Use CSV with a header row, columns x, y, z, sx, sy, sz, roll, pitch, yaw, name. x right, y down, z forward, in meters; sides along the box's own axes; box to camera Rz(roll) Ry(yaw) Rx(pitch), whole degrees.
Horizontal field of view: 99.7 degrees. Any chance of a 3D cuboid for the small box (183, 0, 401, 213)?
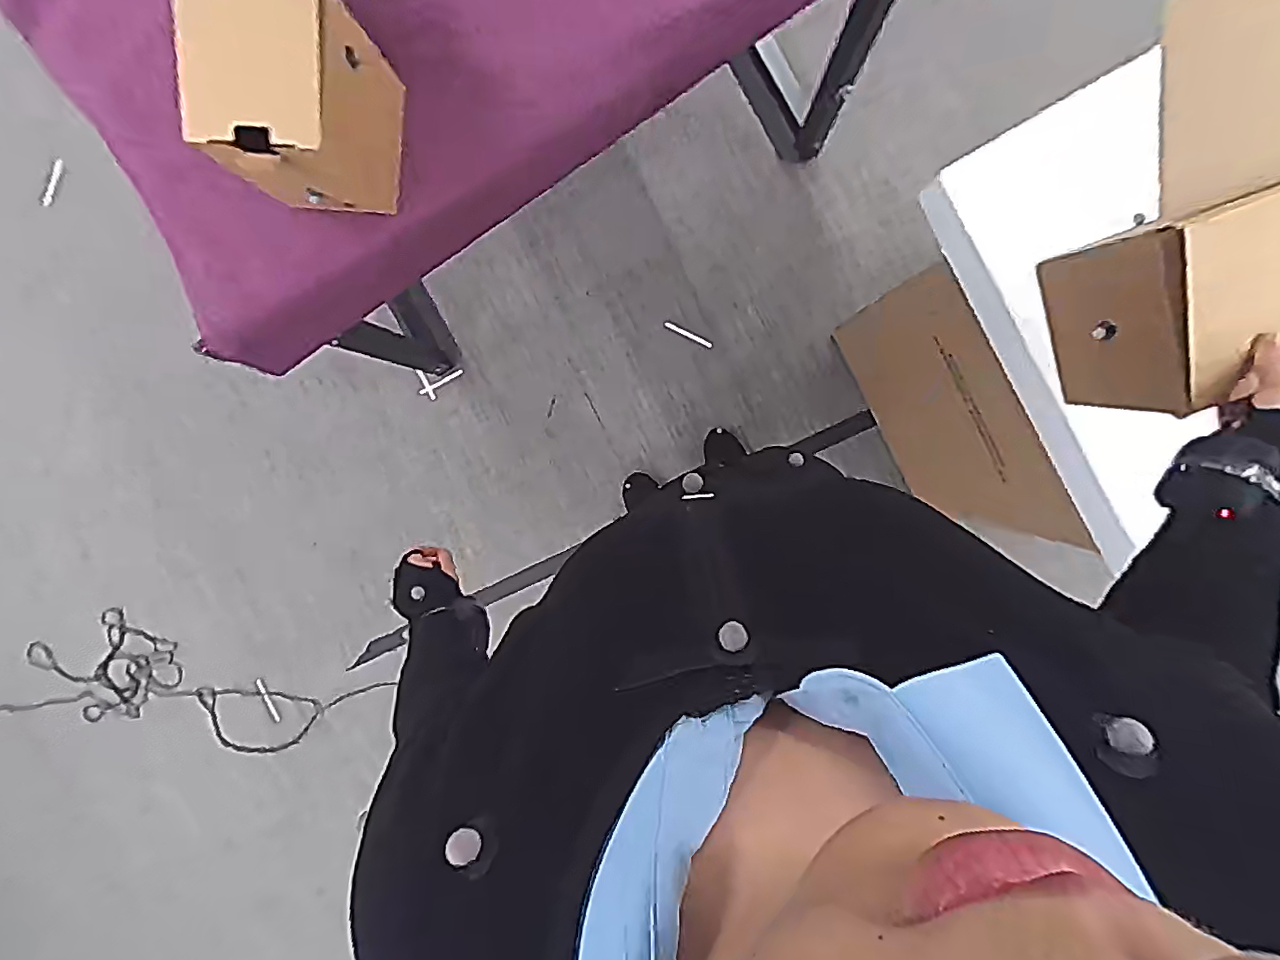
x,y,z,sx,sy,sz,roll,pitch,yaw,name
-0.422,-0.467,0.682,0.168,0.176,0.179,5,94,4,small box
